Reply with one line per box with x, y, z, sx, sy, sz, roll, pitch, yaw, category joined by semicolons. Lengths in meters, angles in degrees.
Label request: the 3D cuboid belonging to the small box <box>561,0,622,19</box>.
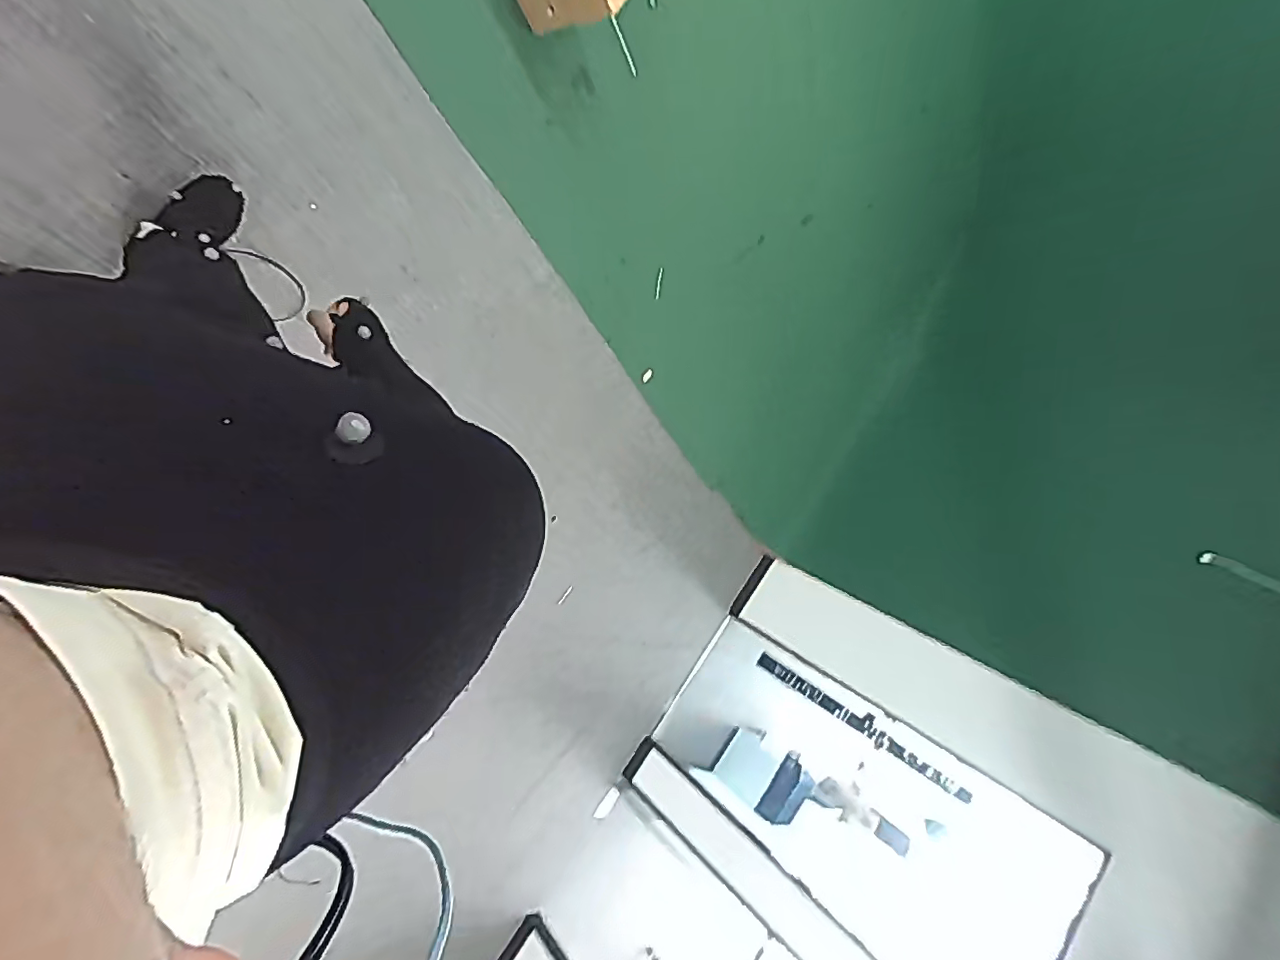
-0.119;-1.279;1.325;0.168;0.176;0.179;-55;137;-9;small box

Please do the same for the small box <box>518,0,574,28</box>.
-0.233;-1.338;1.425;0.168;0.176;0.179;-53;139;-11;small box
